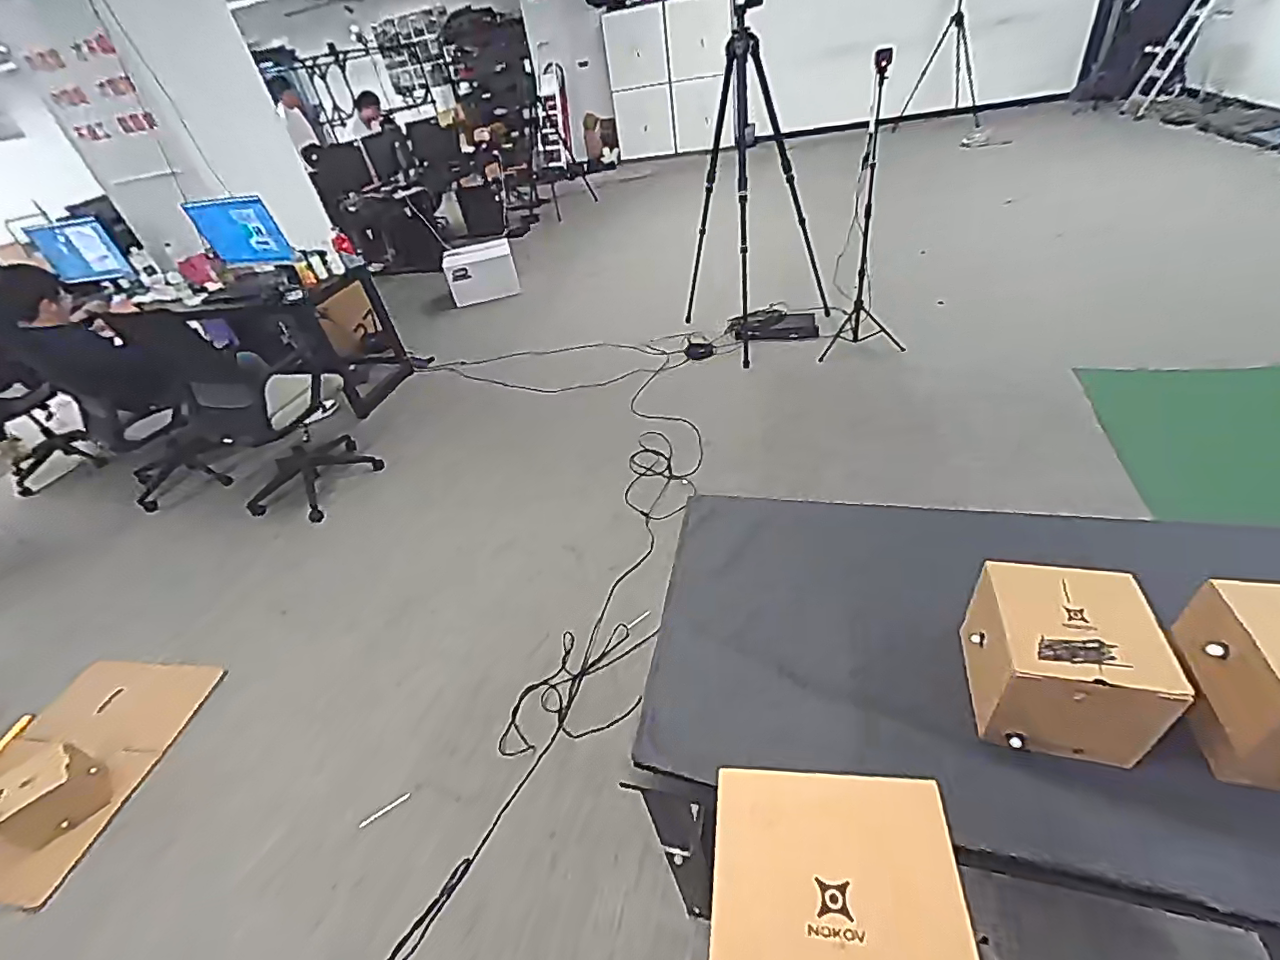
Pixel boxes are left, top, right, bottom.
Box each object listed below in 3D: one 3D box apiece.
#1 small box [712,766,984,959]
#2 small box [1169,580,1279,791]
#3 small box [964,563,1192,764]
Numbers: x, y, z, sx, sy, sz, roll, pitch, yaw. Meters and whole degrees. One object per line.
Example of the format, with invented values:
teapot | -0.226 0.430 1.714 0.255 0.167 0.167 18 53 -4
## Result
small box | 0.149 0.347 0.406 0.168 0.176 0.179 -5 37 15
small box | 0.769 0.243 0.628 0.168 0.176 0.179 2 40 17
small box | 0.538 0.234 0.698 0.168 0.176 0.179 4 39 18
